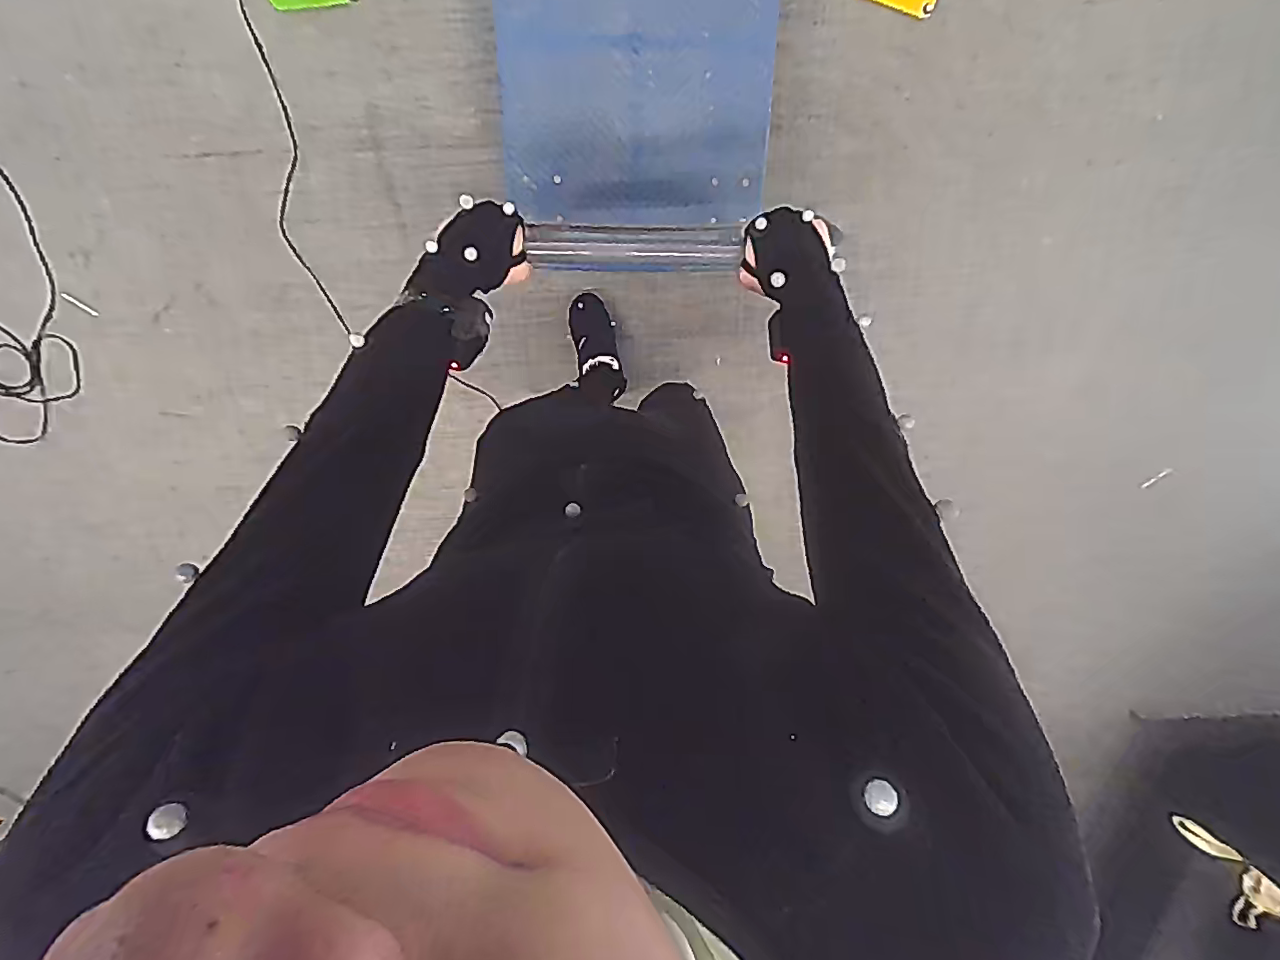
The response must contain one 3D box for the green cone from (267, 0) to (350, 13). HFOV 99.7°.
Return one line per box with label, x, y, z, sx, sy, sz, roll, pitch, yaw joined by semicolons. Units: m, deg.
green cone;-0.742;-1.084;1.012;0.202;0.368;0.200;-5;112;3
